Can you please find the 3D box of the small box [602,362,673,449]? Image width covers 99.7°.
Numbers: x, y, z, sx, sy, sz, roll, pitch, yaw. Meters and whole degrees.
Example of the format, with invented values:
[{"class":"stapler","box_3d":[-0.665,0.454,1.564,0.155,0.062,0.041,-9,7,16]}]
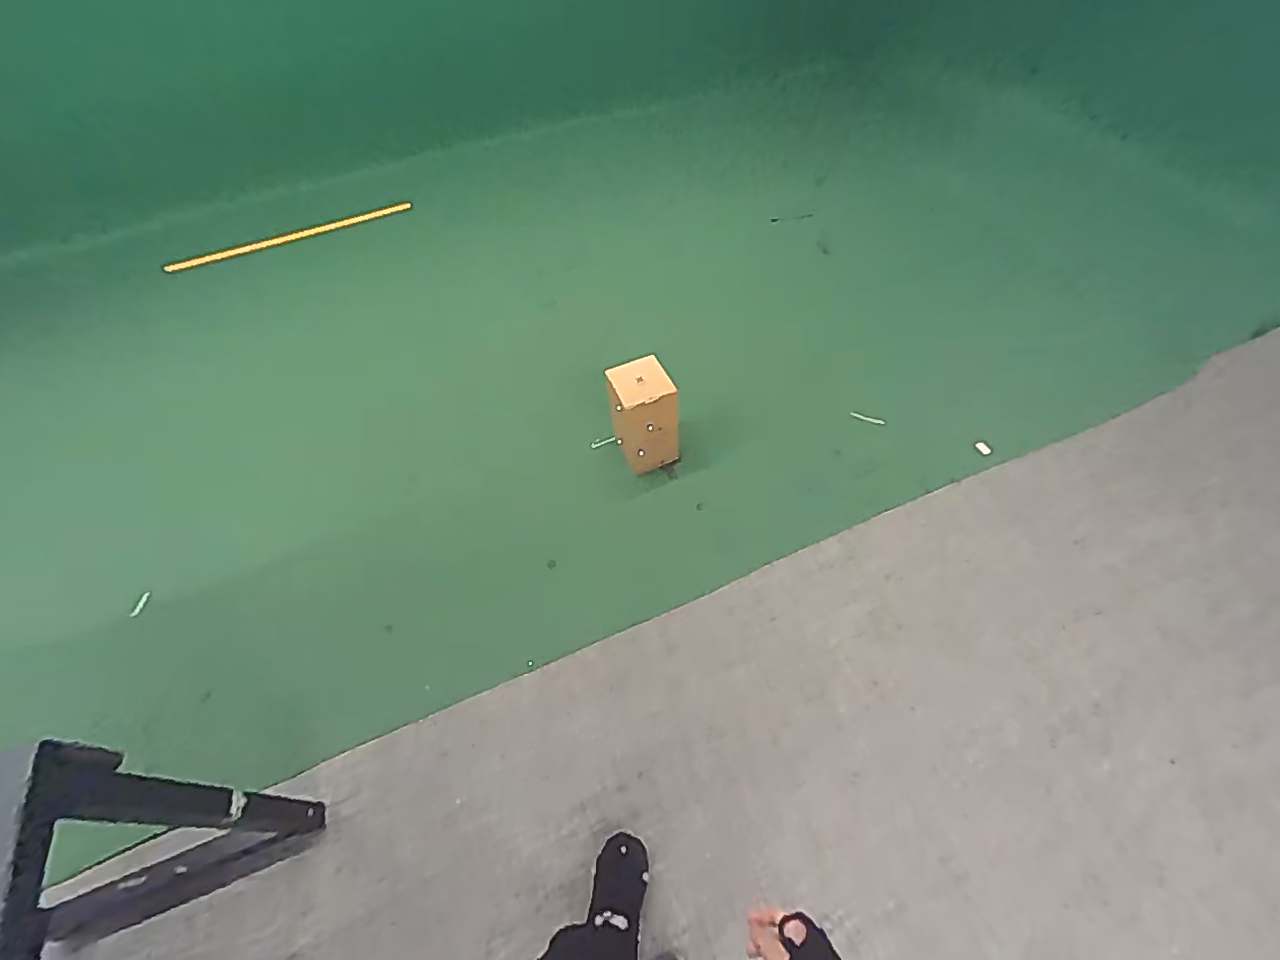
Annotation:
[{"class":"small box","box_3d":[-0.010,-0.228,1.669,0.168,0.176,0.179,-20,55,-13]}]
